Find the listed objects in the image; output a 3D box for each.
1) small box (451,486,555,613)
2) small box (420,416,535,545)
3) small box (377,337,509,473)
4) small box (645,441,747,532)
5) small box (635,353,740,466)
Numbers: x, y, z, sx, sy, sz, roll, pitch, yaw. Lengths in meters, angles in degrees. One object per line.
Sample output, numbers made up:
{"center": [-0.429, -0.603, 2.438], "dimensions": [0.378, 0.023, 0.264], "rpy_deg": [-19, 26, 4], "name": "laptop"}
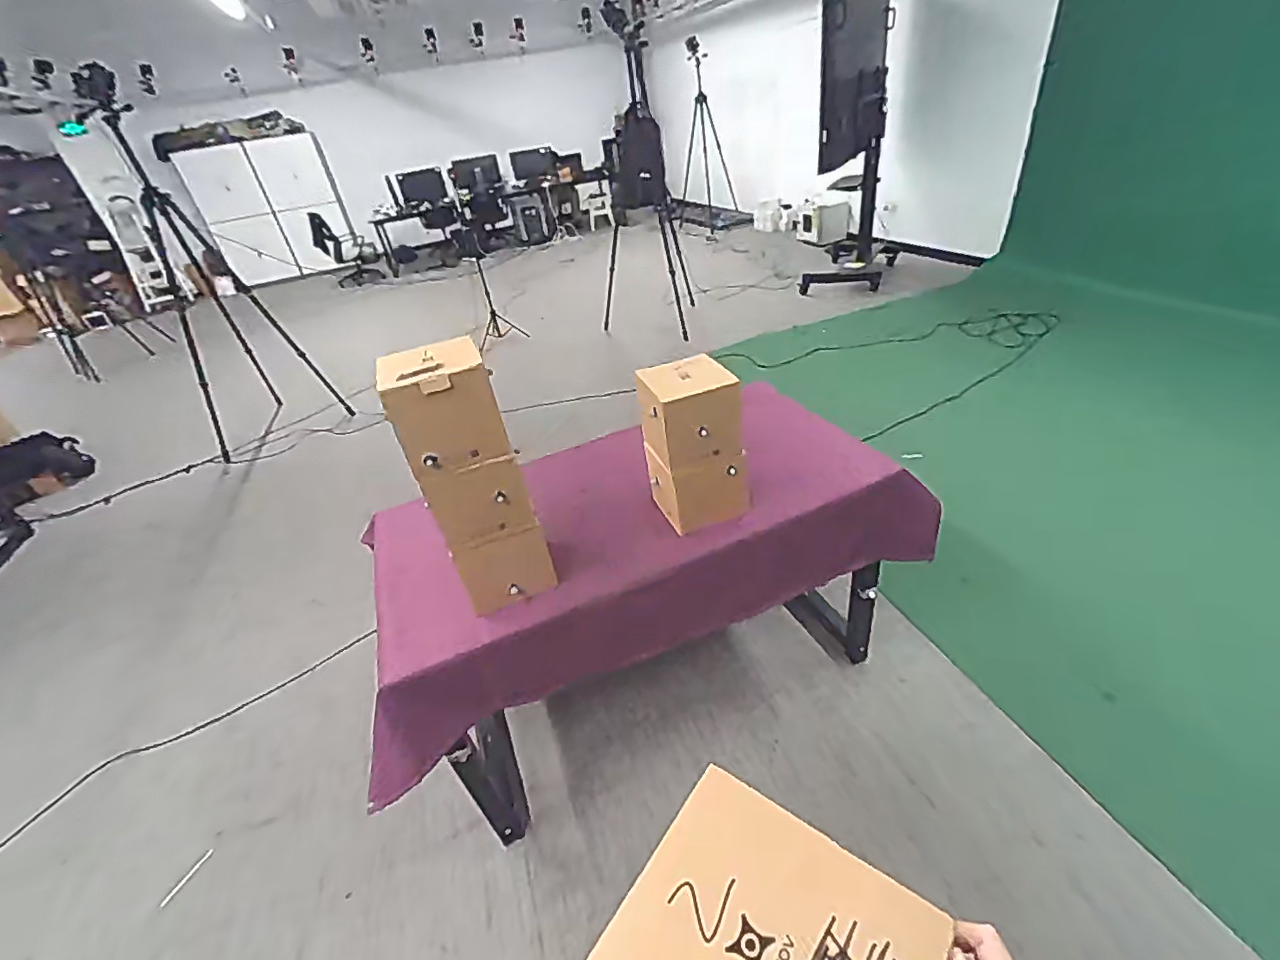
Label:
{"center": [-0.284, 0.142, 1.122], "dimensions": [0.179, 0.176, 0.168], "rpy_deg": [-19, 35, -13], "name": "small box"}
{"center": [-0.309, 0.005, 1.035], "dimensions": [0.168, 0.176, 0.179], "rpy_deg": [-18, 34, -12], "name": "small box"}
{"center": [-0.341, -0.129, 0.945], "dimensions": [0.168, 0.176, 0.179], "rpy_deg": [-19, 34, -14], "name": "small box"}
{"center": [0.129, -0.007, 1.229], "dimensions": [0.179, 0.176, 0.168], "rpy_deg": [-18, 35, -12], "name": "small box"}
{"center": [0.103, -0.144, 1.141], "dimensions": [0.168, 0.176, 0.179], "rpy_deg": [-17, 35, -10], "name": "small box"}
